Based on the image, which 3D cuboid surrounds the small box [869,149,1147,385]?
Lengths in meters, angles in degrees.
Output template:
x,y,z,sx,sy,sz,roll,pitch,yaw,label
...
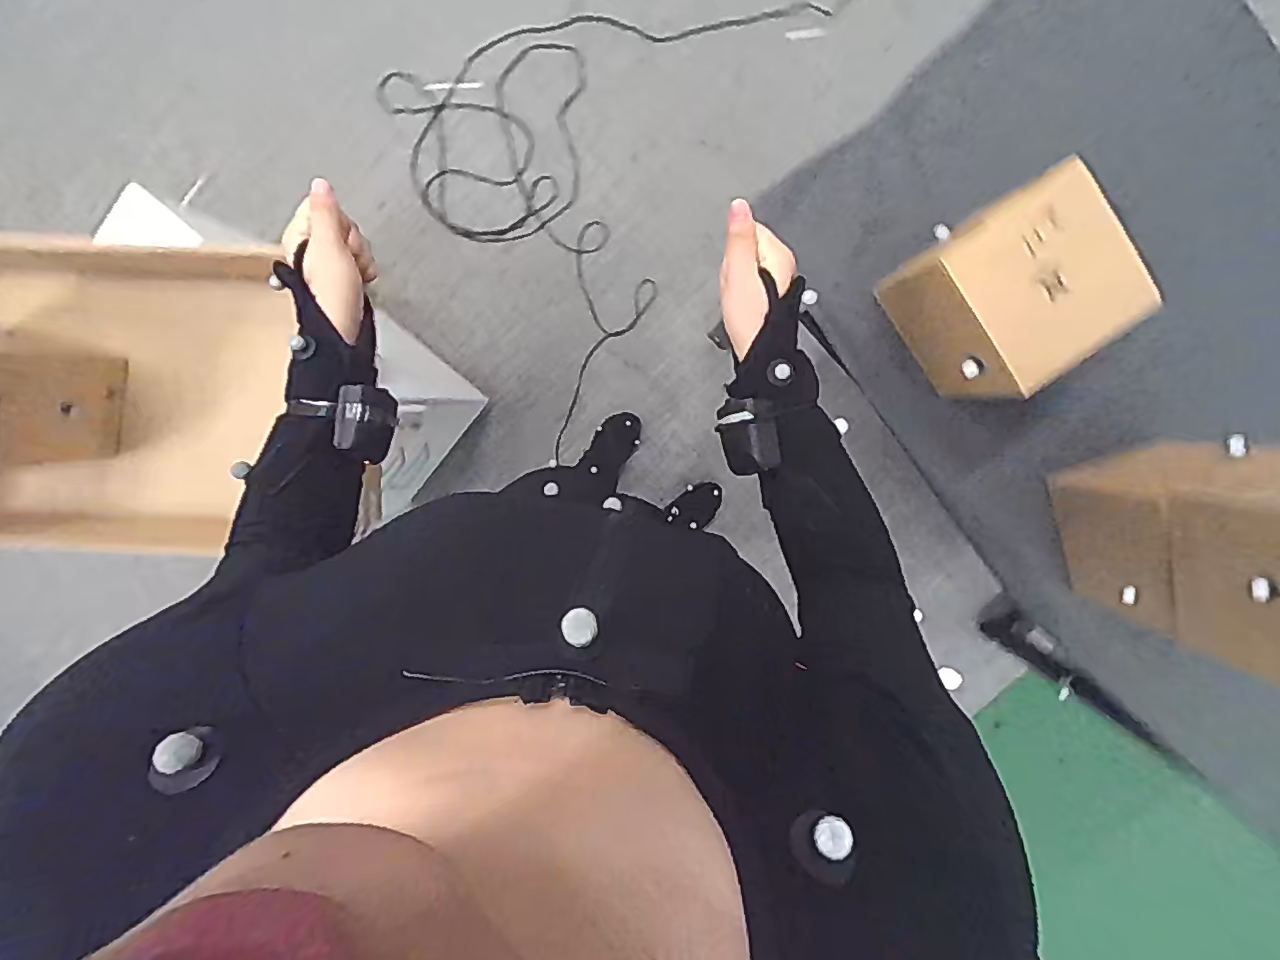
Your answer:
x,y,z,sx,sy,sz,roll,pitch,yaw,label
0.409,-0.229,0.634,0.168,0.176,0.179,-36,96,6,small box
